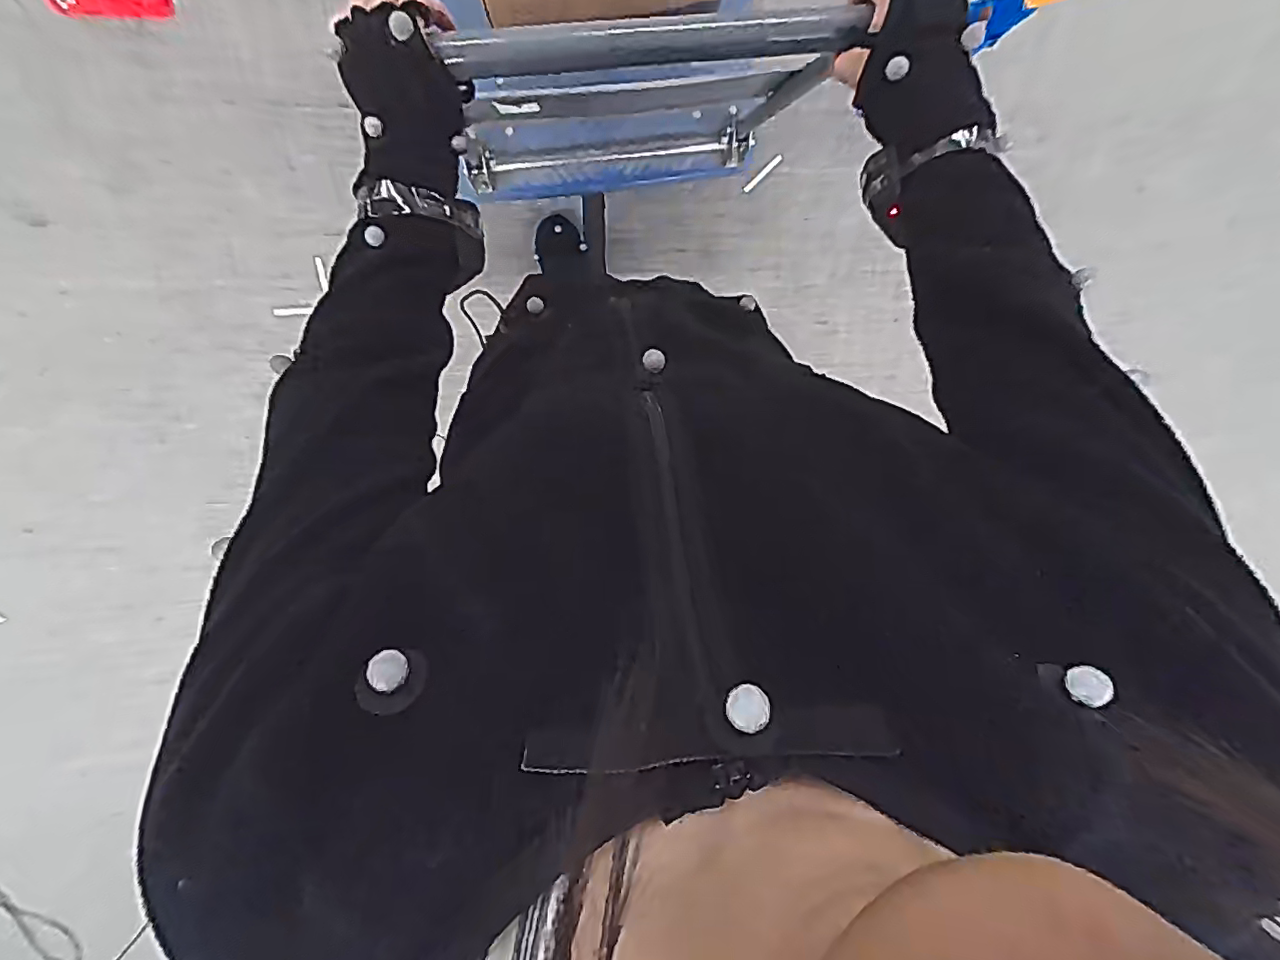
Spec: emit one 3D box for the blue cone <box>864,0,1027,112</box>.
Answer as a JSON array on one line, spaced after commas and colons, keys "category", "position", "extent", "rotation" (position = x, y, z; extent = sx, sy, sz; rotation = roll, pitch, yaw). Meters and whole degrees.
[{"category": "blue cone", "position": [0.602, -0.853, 1.025], "extent": [0.193, 0.380, 0.192], "rotation": [-7, 114, -6]}]
